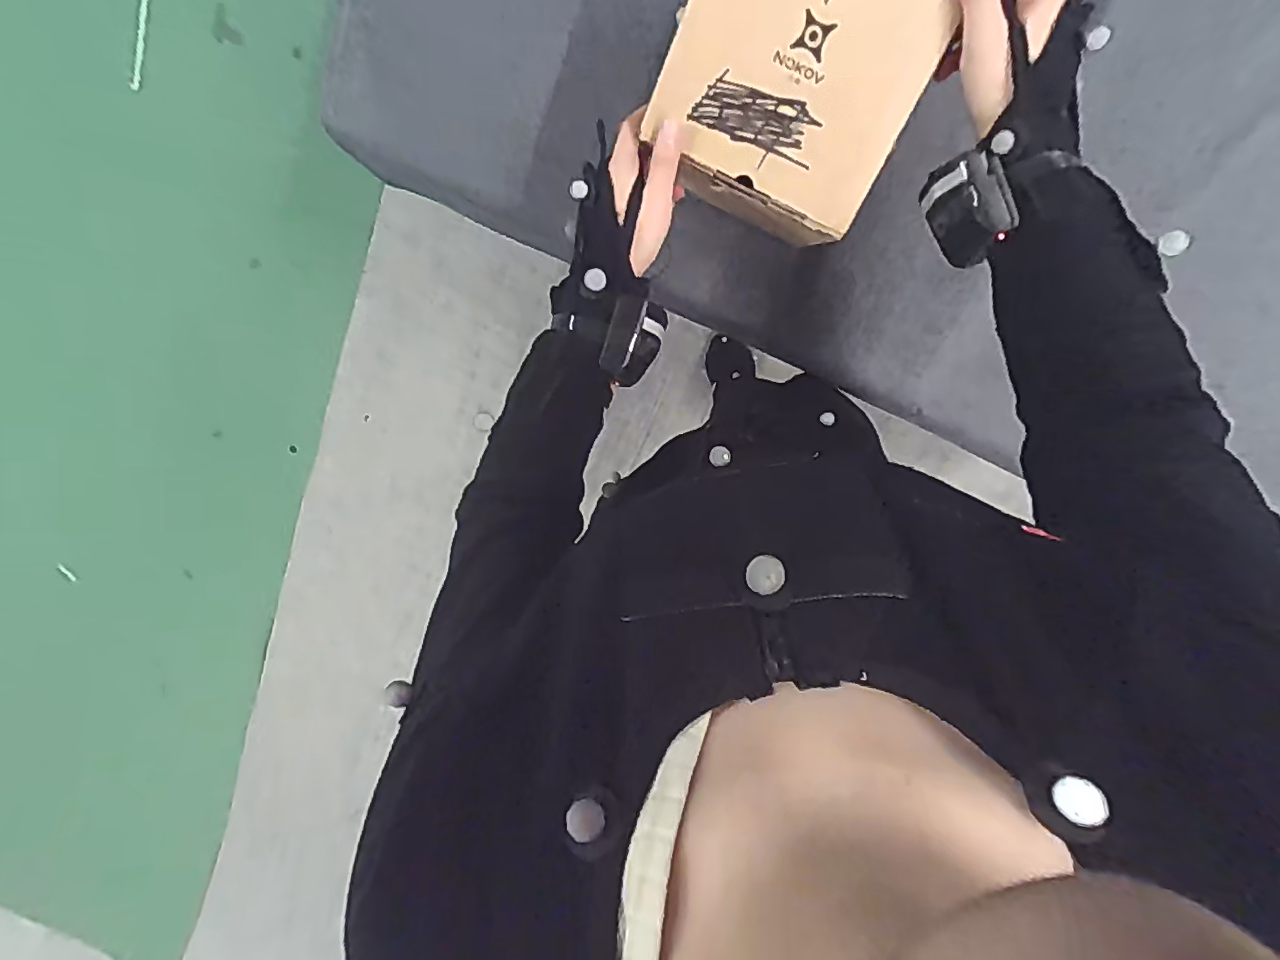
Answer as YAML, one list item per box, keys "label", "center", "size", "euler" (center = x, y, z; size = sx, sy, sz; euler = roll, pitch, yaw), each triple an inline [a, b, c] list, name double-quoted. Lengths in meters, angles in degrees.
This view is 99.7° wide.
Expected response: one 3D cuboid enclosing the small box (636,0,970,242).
- label: "small box"
  center: [0.111, -0.307, 0.428]
  size: [0.168, 0.176, 0.179]
  euler: [24, 111, -6]
